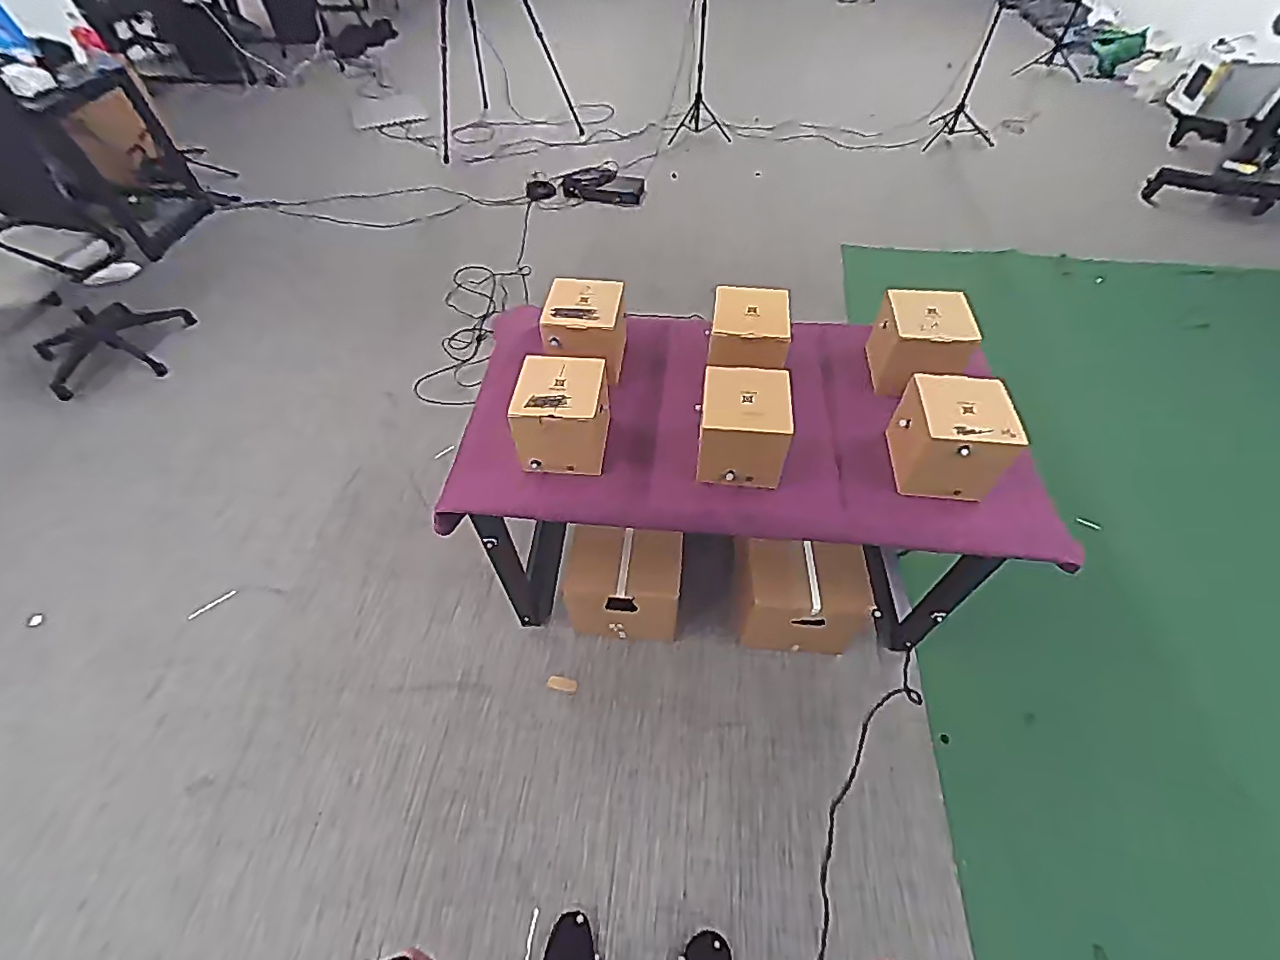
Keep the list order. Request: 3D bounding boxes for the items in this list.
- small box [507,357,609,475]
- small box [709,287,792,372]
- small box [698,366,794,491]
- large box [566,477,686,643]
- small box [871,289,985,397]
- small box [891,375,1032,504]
[{"bbox_3d":[-0.155,-0.128,1.103,0.168,0.176,0.179,3,51,4],"label":"small box"},{"bbox_3d":[0.249,-0.316,1.242,0.168,0.176,0.179,6,54,5],"label":"small box"},{"bbox_3d":[0.206,-0.101,1.076,0.168,0.176,0.179,5,52,6],"label":"small box"},{"bbox_3d":[-0.026,0.245,1.651,0.320,0.320,0.408,4,52,4],"label":"large box"},{"bbox_3d":[0.634,-0.305,1.218,0.168,0.176,0.179,4,54,7],"label":"small box"},{"bbox_3d":[0.604,-0.078,1.045,0.168,0.176,0.179,4,50,7],"label":"small box"}]
